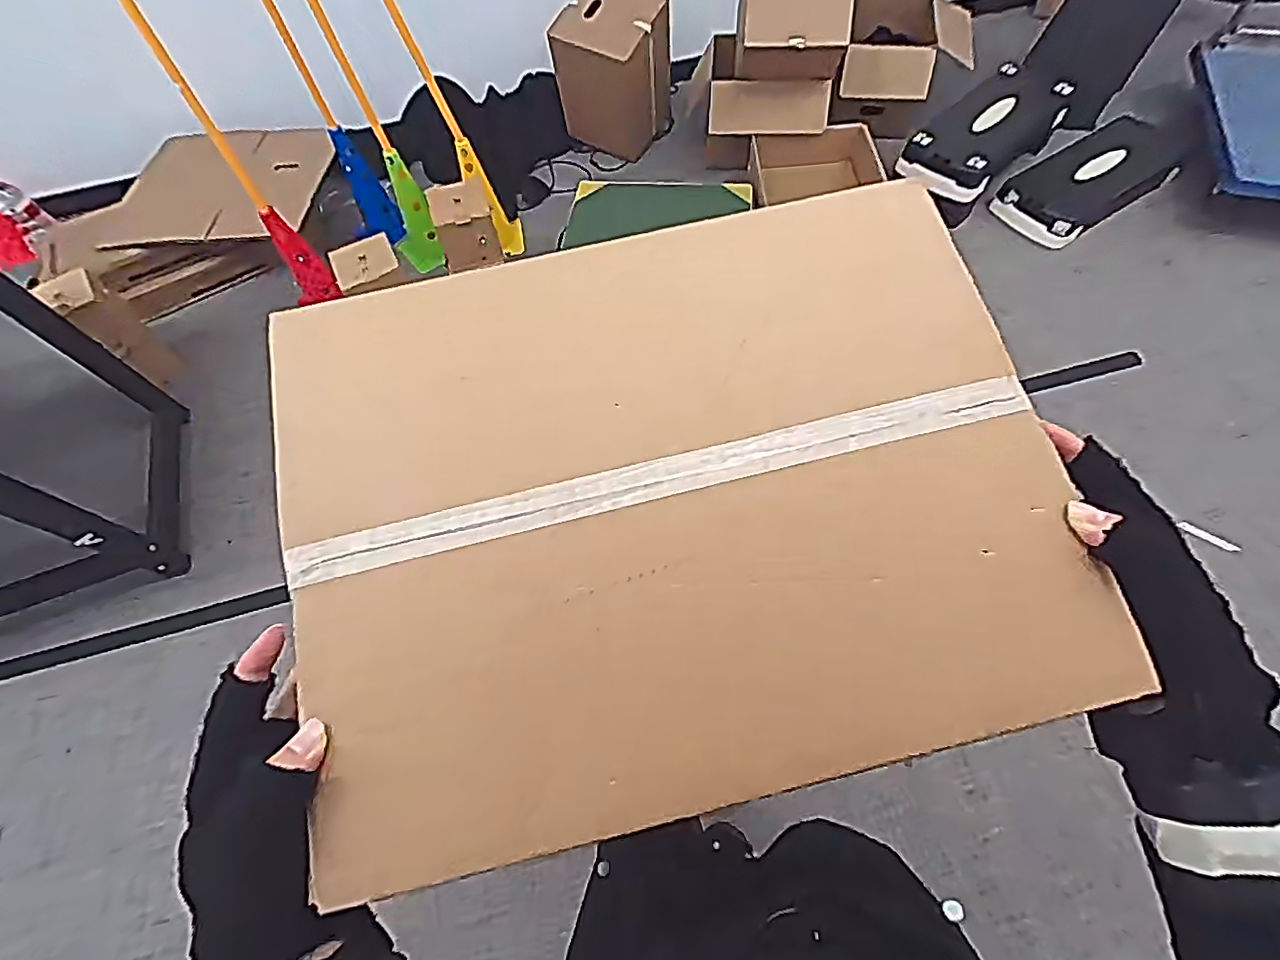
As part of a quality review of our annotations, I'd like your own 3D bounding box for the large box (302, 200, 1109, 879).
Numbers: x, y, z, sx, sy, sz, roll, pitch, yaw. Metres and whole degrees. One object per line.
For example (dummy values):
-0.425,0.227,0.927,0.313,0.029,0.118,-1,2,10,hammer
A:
0.017,0.045,0.451,0.408,0.320,0.320,-14,75,-3,large box
